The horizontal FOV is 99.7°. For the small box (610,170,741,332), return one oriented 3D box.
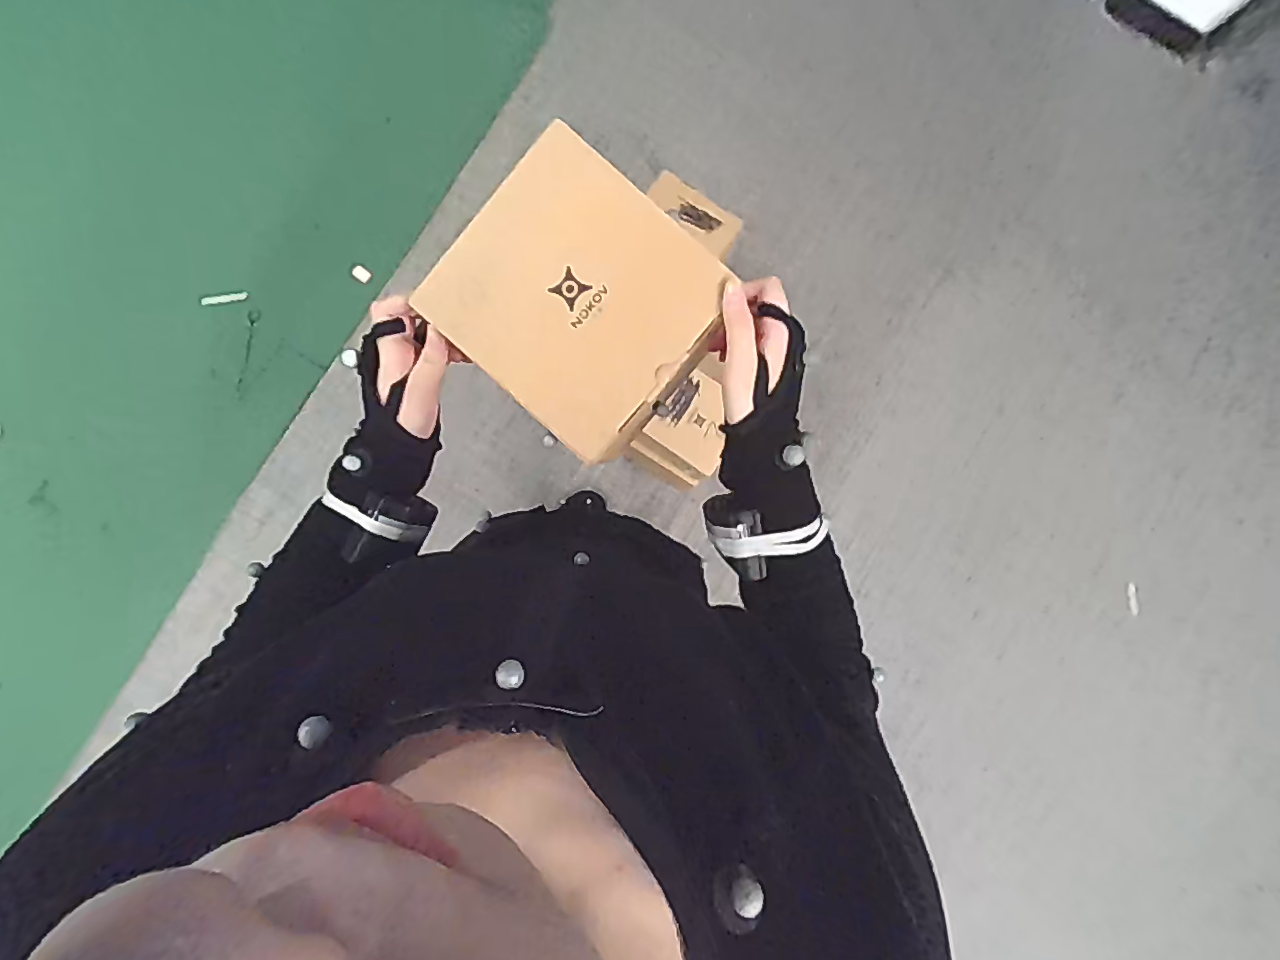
[{"bbox_3d":[0.054,-0.408,0.990,0.168,0.176,0.179,35,84,0],"label":"small box"}]
